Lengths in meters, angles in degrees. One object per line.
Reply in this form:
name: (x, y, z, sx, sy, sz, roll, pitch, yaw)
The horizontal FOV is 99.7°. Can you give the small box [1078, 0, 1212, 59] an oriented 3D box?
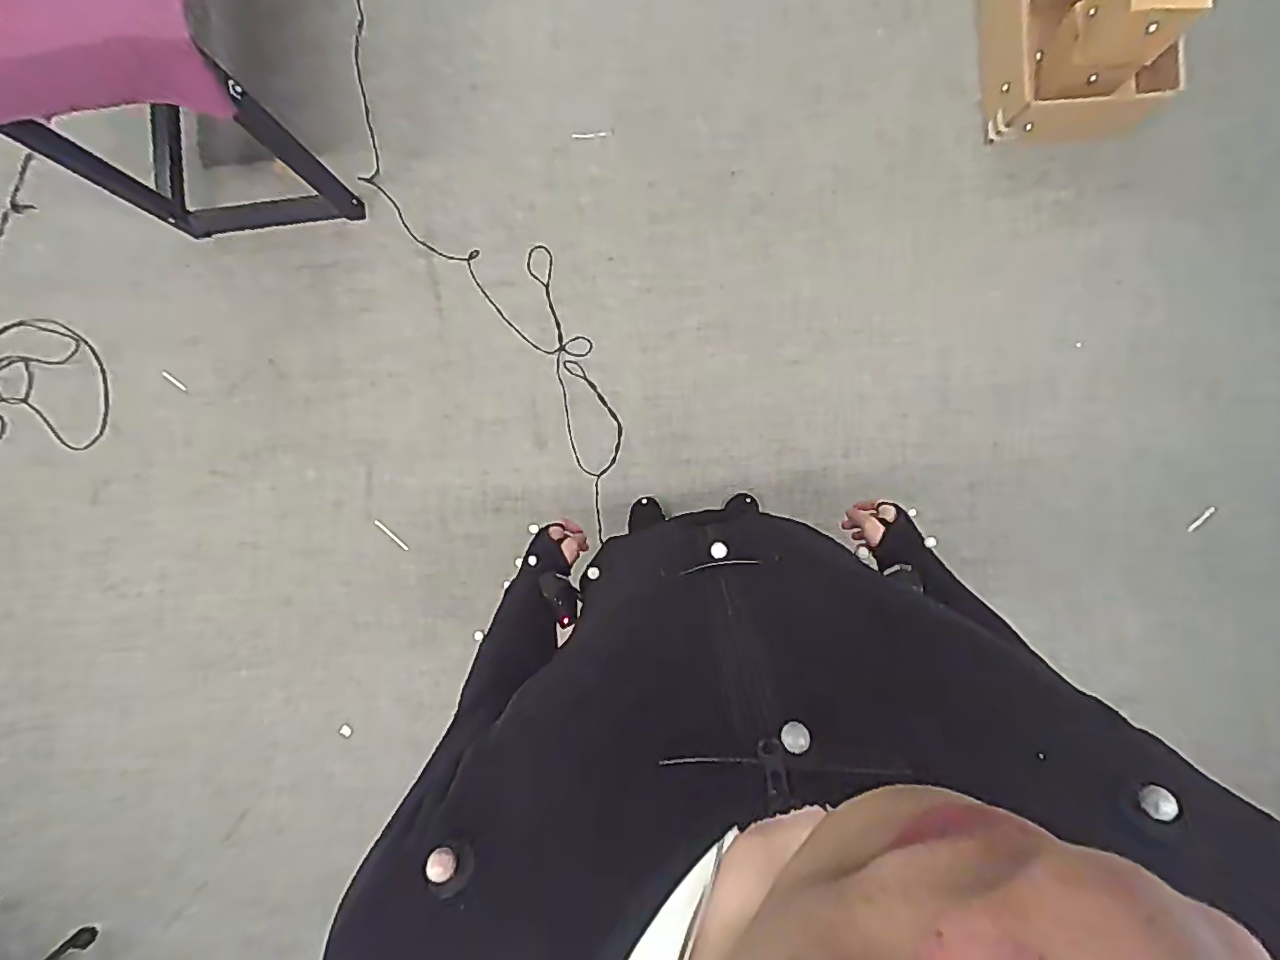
small box: (1.209, -1.155, 1.300, 0.179, 0.176, 0.168, 2, 90, 4)
